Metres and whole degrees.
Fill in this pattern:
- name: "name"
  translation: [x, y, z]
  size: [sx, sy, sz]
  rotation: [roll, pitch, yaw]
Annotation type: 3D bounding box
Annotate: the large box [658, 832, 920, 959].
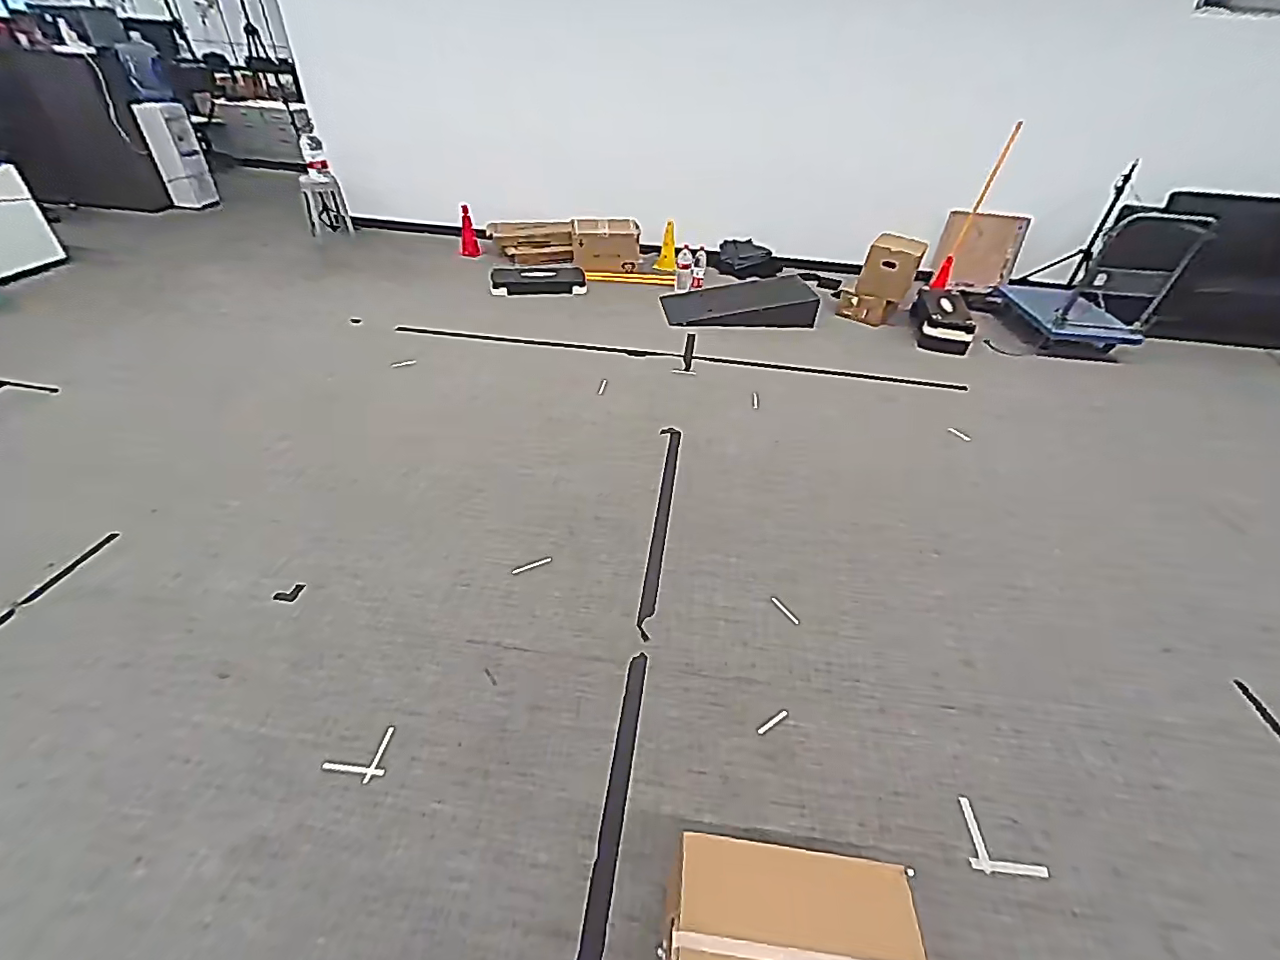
- name: "large box"
  translation: [0.242, 0.880, 0.959]
  size: [0.408, 0.320, 0.320]
  rotation: [8, 39, 2]
